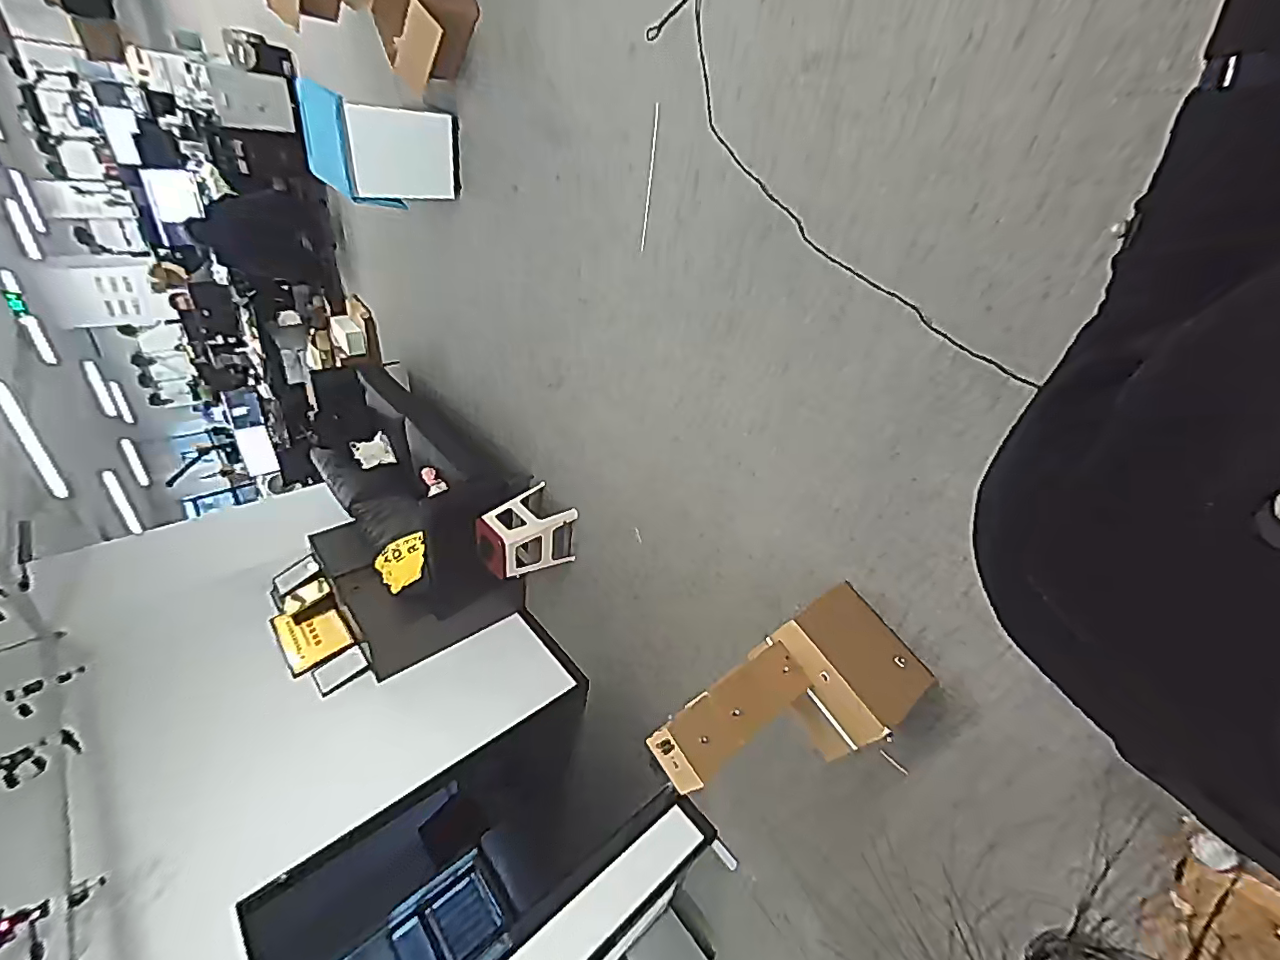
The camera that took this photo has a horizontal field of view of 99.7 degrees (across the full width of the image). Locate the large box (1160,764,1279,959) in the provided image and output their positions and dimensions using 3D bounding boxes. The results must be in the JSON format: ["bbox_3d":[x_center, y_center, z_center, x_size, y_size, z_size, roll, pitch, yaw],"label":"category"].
[{"bbox_3d":[1.347,0.865,1.054,0.408,0.320,0.320,22,124,43],"label":"large box"}]

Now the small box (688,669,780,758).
[{"bbox_3d":[0.283,0.697,1.630,0.179,0.176,0.168,52,142,20],"label":"small box"}]

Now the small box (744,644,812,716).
[{"bbox_3d":[0.411,0.654,1.721,0.168,0.176,0.179,52,142,21],"label":"small box"}]

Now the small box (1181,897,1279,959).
[{"bbox_3d":[1.106,0.895,0.959,0.179,0.176,0.168,28,128,42],"label":"small box"}]
